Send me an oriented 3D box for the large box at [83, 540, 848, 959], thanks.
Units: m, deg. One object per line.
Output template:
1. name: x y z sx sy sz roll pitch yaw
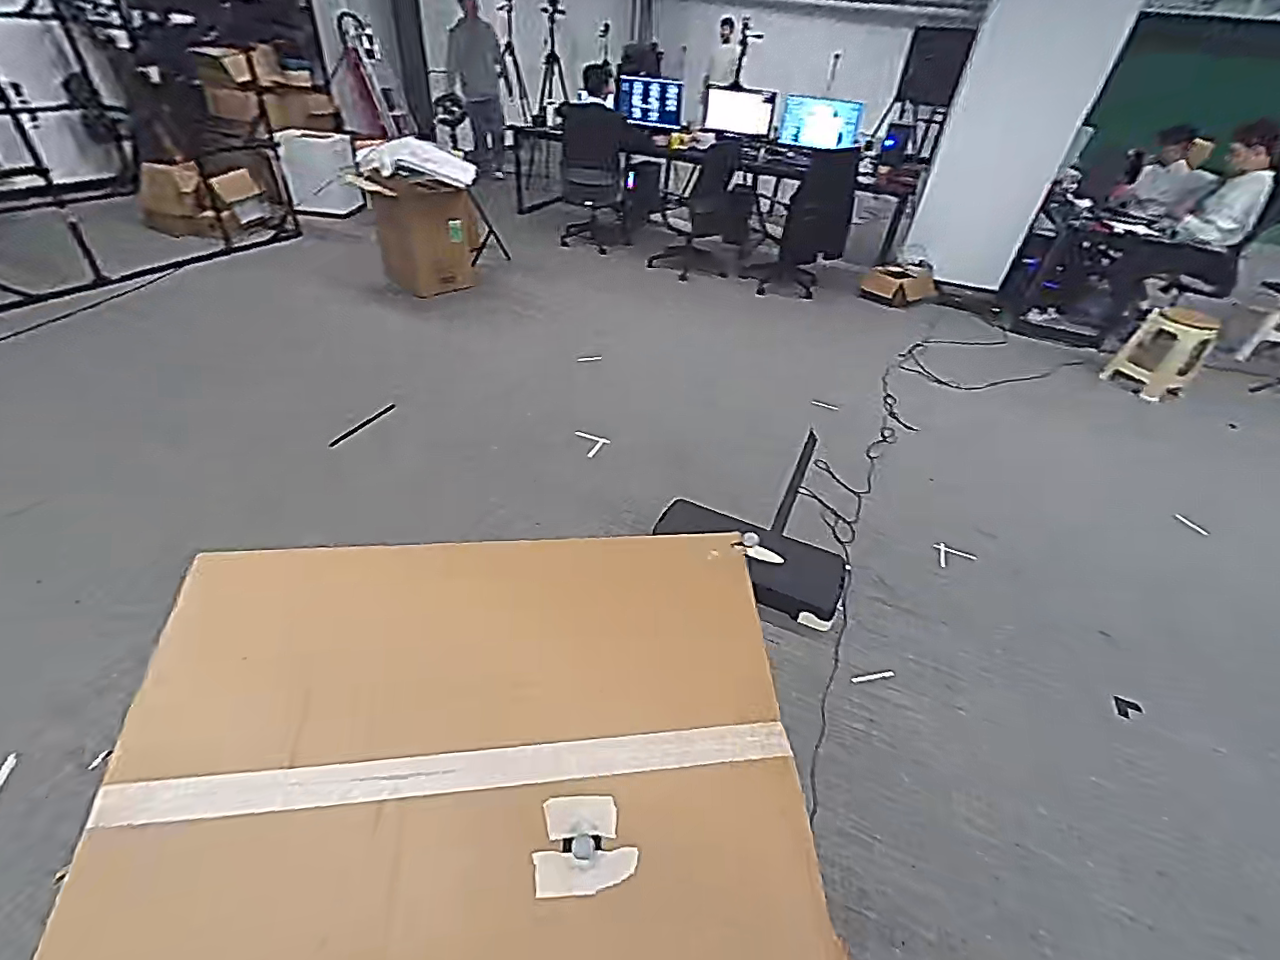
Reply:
1. large box: -0.108 0.263 0.461 0.408 0.320 0.320 0 57 -8
